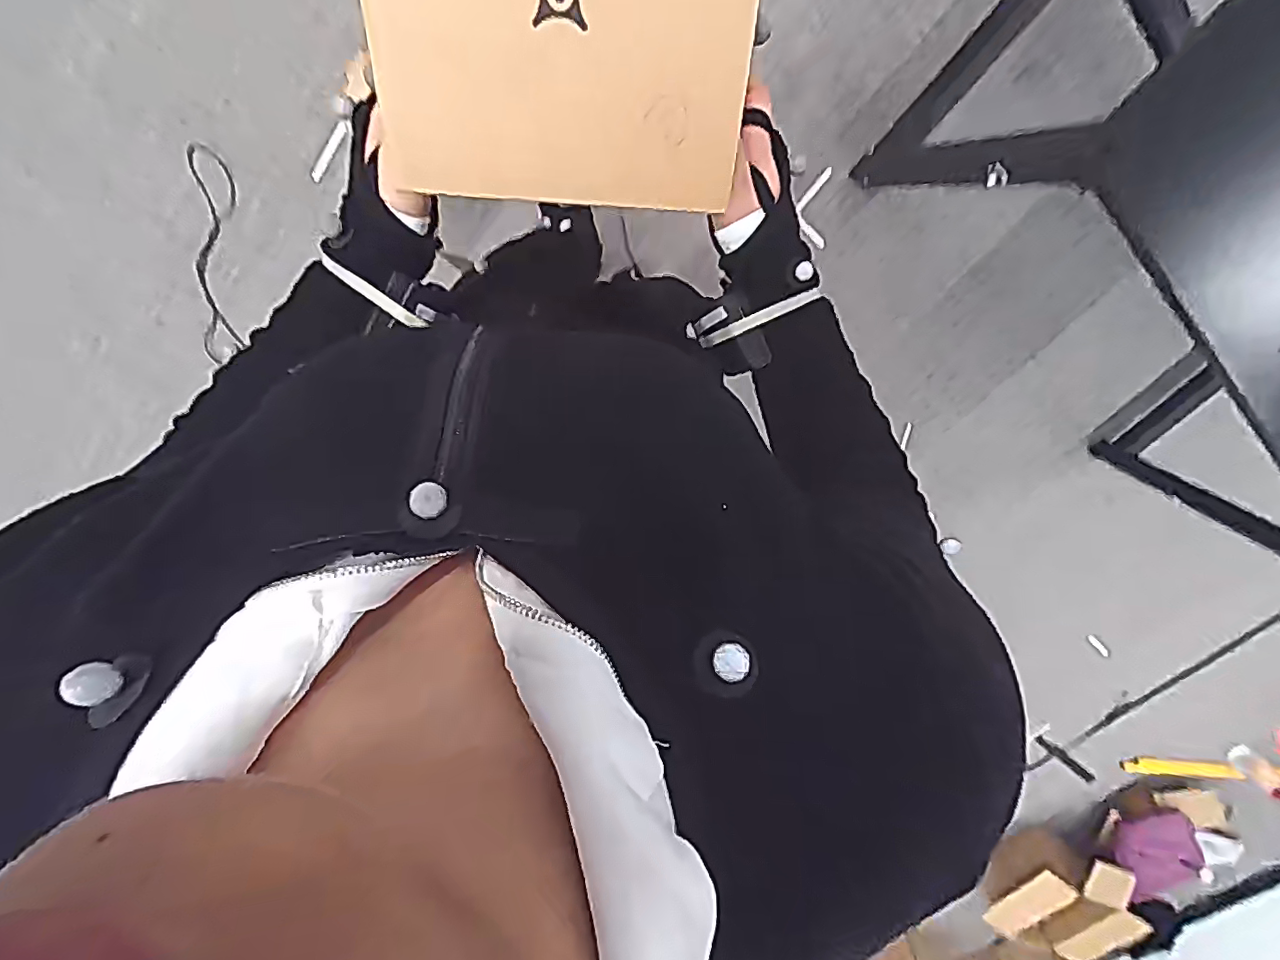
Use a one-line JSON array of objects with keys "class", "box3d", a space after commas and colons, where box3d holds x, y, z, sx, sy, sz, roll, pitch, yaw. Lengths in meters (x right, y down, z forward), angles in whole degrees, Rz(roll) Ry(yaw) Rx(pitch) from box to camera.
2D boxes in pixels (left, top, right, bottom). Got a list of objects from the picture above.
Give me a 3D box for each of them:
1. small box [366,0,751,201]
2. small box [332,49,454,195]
[{"class": "small box", "box3d": [-0.035, -0.262, 0.285, 0.168, 0.176, 0.179, 1, 125, -4]}, {"class": "small box", "box3d": [-0.393, -0.637, 0.962, 0.168, 0.176, 0.179, -41, 114, 18]}]
